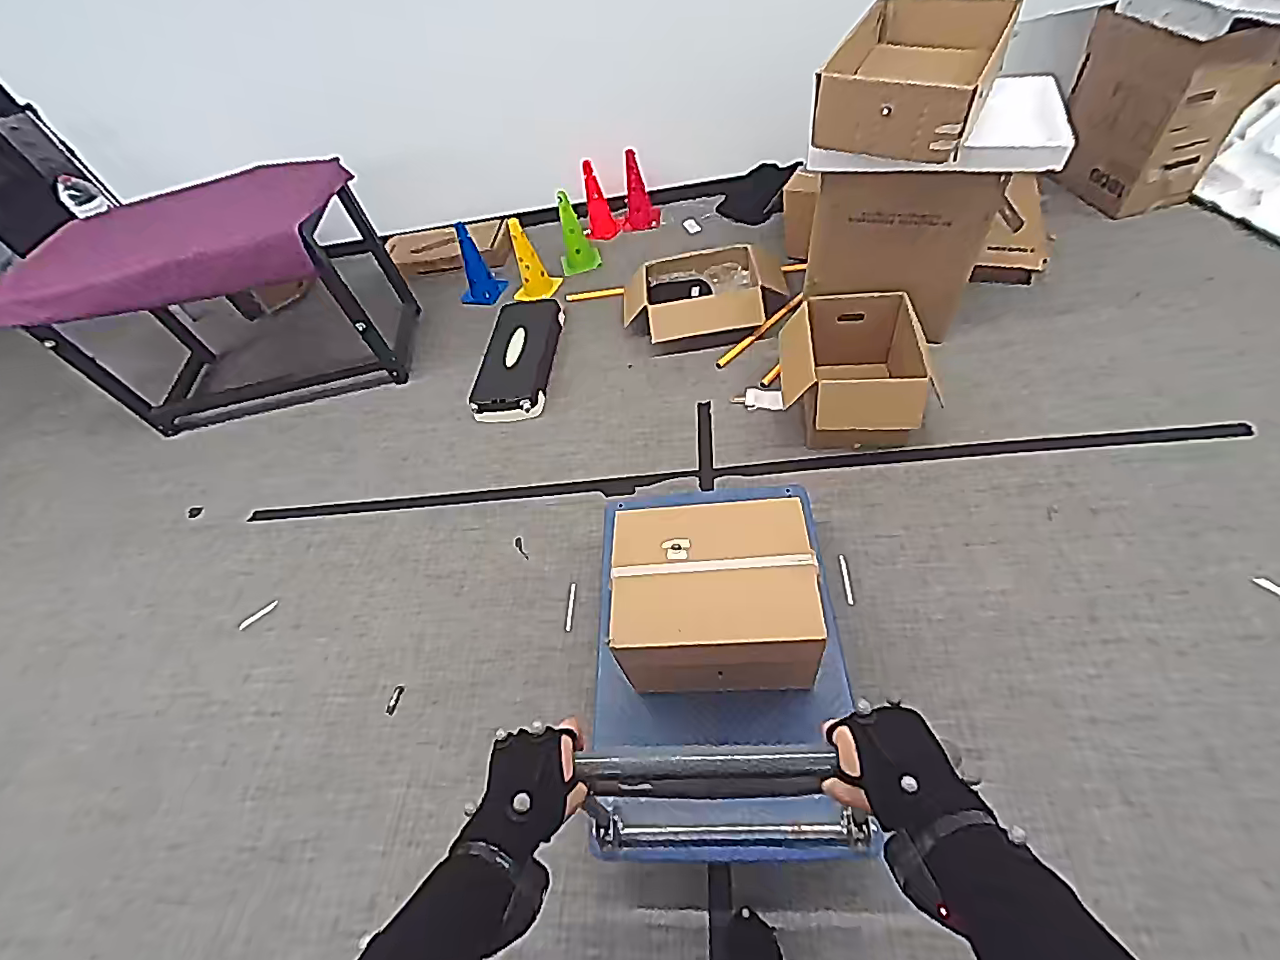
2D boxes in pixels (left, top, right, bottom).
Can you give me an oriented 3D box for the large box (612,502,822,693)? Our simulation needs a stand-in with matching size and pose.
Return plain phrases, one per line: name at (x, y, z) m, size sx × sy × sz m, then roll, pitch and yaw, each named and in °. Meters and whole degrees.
large box at (0.168, 0.279, 1.227) m, size 0.408 × 0.320 × 0.320 m, roll -6°, pitch 52°, yaw 9°
